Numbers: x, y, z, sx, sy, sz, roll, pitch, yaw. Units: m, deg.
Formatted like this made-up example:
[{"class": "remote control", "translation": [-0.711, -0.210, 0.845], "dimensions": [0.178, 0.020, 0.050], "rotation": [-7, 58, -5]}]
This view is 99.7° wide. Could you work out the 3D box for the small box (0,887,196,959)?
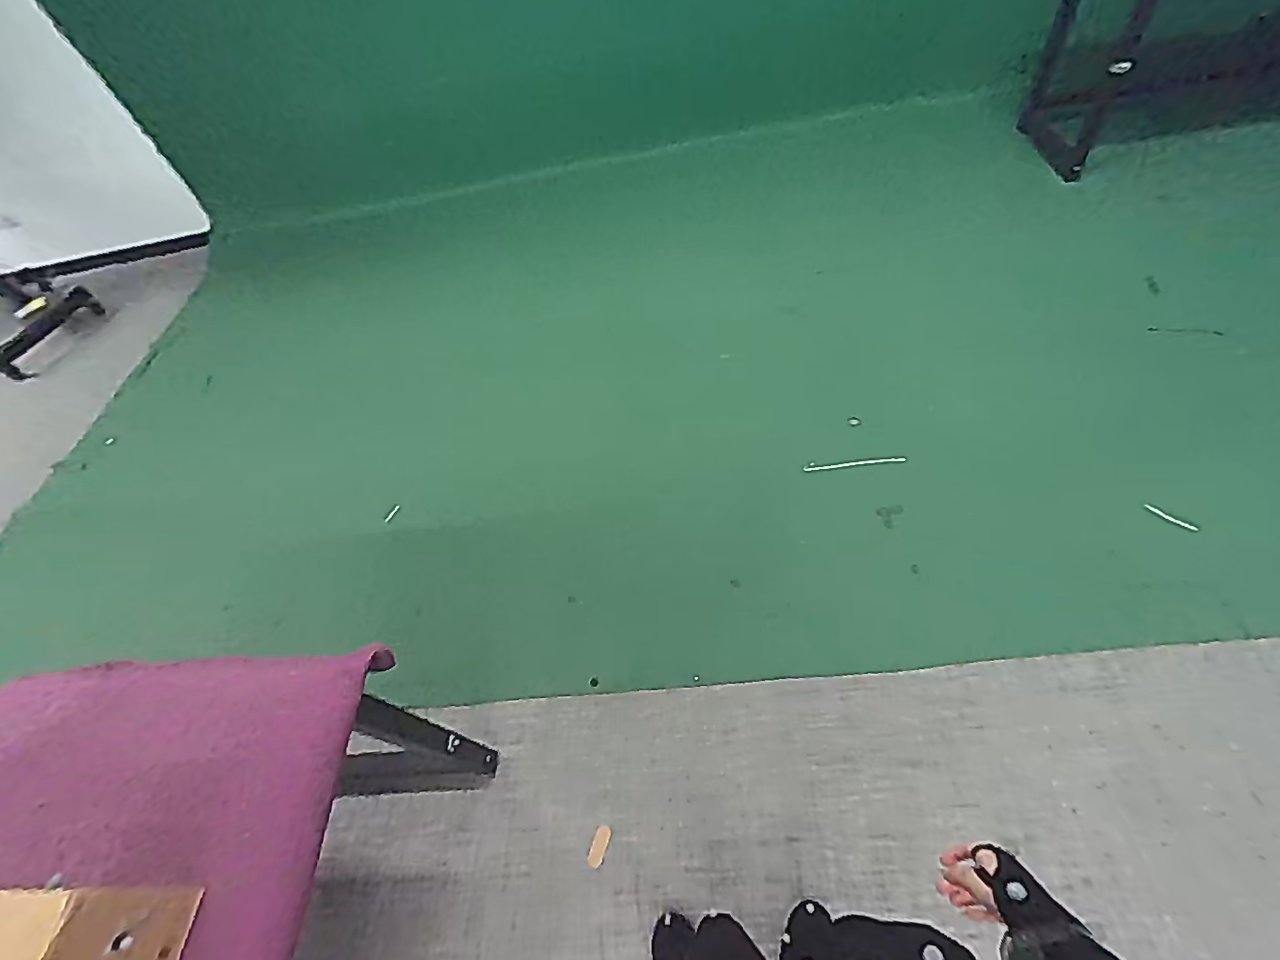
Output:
[{"class": "small box", "translation": [-0.650, 0.548, 0.587], "dimensions": [0.179, 0.176, 0.168], "rotation": [-7, 53, 9]}]
